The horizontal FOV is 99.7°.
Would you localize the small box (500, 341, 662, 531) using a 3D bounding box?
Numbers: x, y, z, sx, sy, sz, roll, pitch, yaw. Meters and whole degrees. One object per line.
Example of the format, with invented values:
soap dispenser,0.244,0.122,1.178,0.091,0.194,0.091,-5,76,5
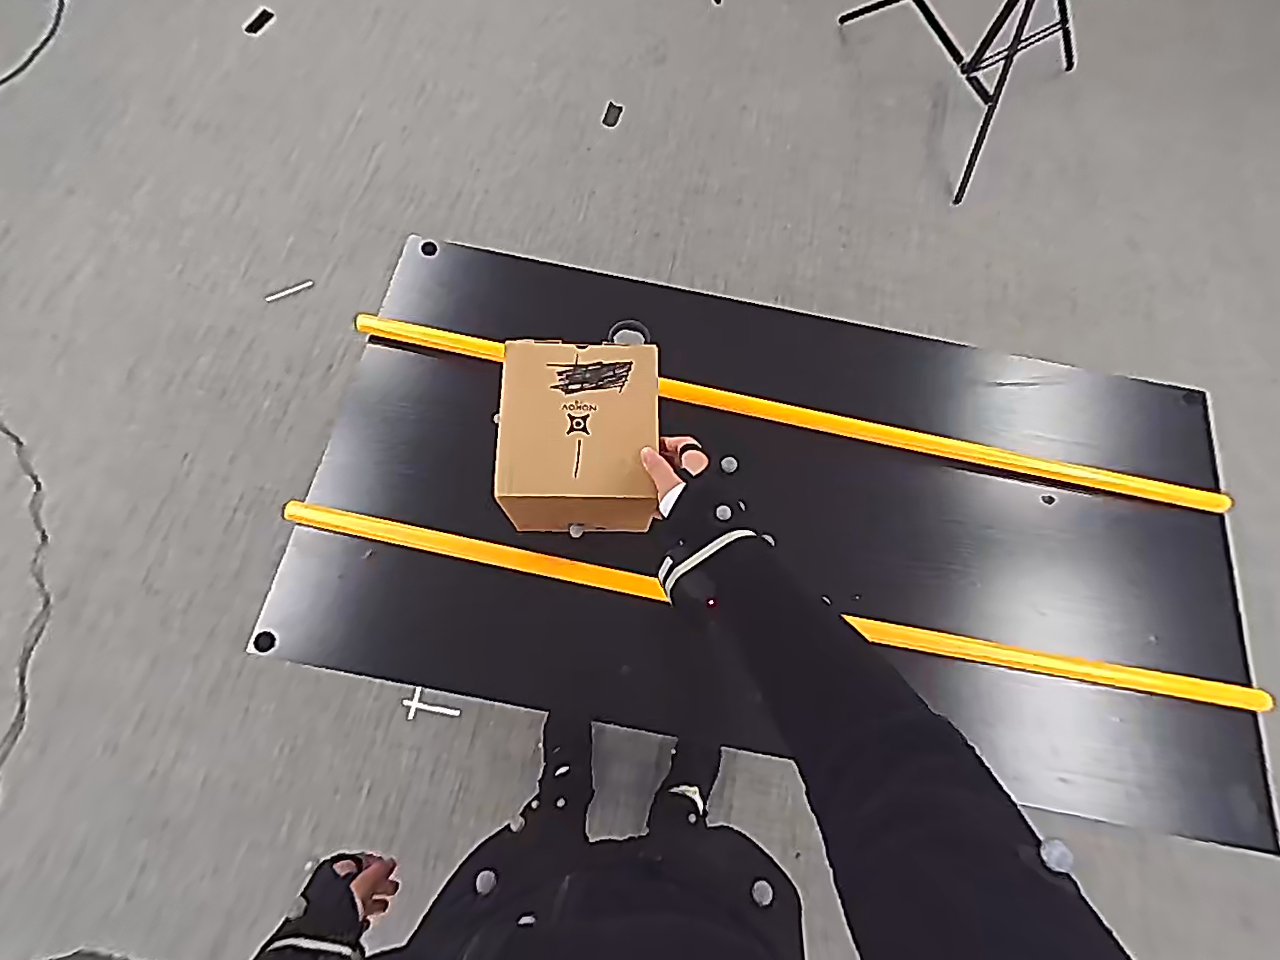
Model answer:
small box,-0.065,-0.044,0.644,0.168,0.176,0.179,1,73,-3
